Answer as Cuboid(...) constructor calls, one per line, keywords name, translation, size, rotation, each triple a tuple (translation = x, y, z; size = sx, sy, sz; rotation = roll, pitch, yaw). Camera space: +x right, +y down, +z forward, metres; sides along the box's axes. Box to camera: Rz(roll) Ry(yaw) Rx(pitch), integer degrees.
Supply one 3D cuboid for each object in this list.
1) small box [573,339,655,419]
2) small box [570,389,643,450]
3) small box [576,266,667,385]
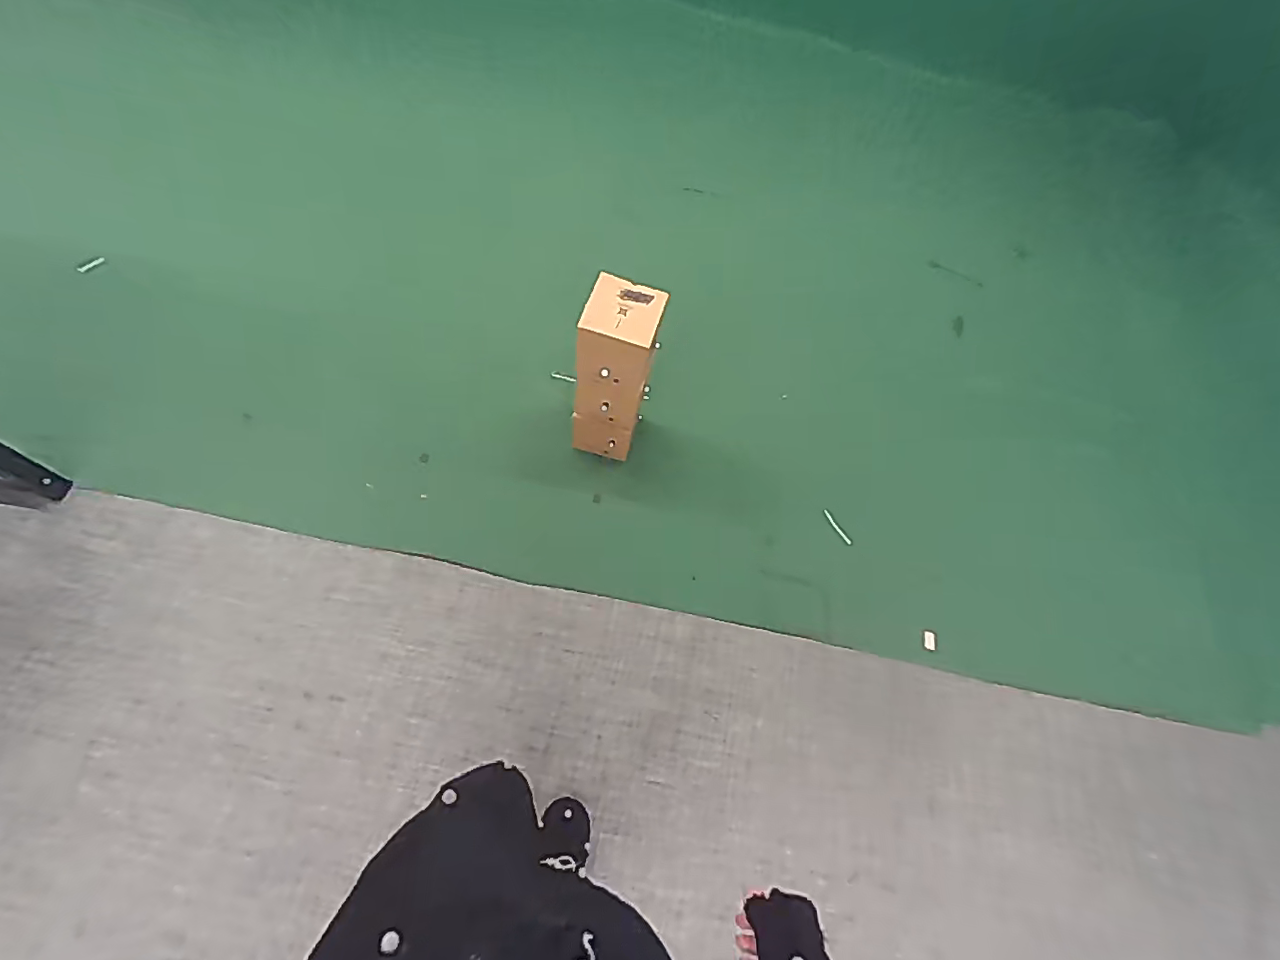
Cuboid(name="small box", translation=(-0.070, -0.281, 1.408), size=(0.168, 0.176, 0.179), rotation=(17, 64, 0))
Cuboid(name="small box", translation=(-0.093, -0.210, 1.532), size=(0.168, 0.176, 0.179), rotation=(18, 62, -1))
Cuboid(name="small box", translation=(-0.050, -0.354, 1.261), size=(0.168, 0.176, 0.179), rotation=(17, 64, 0))
